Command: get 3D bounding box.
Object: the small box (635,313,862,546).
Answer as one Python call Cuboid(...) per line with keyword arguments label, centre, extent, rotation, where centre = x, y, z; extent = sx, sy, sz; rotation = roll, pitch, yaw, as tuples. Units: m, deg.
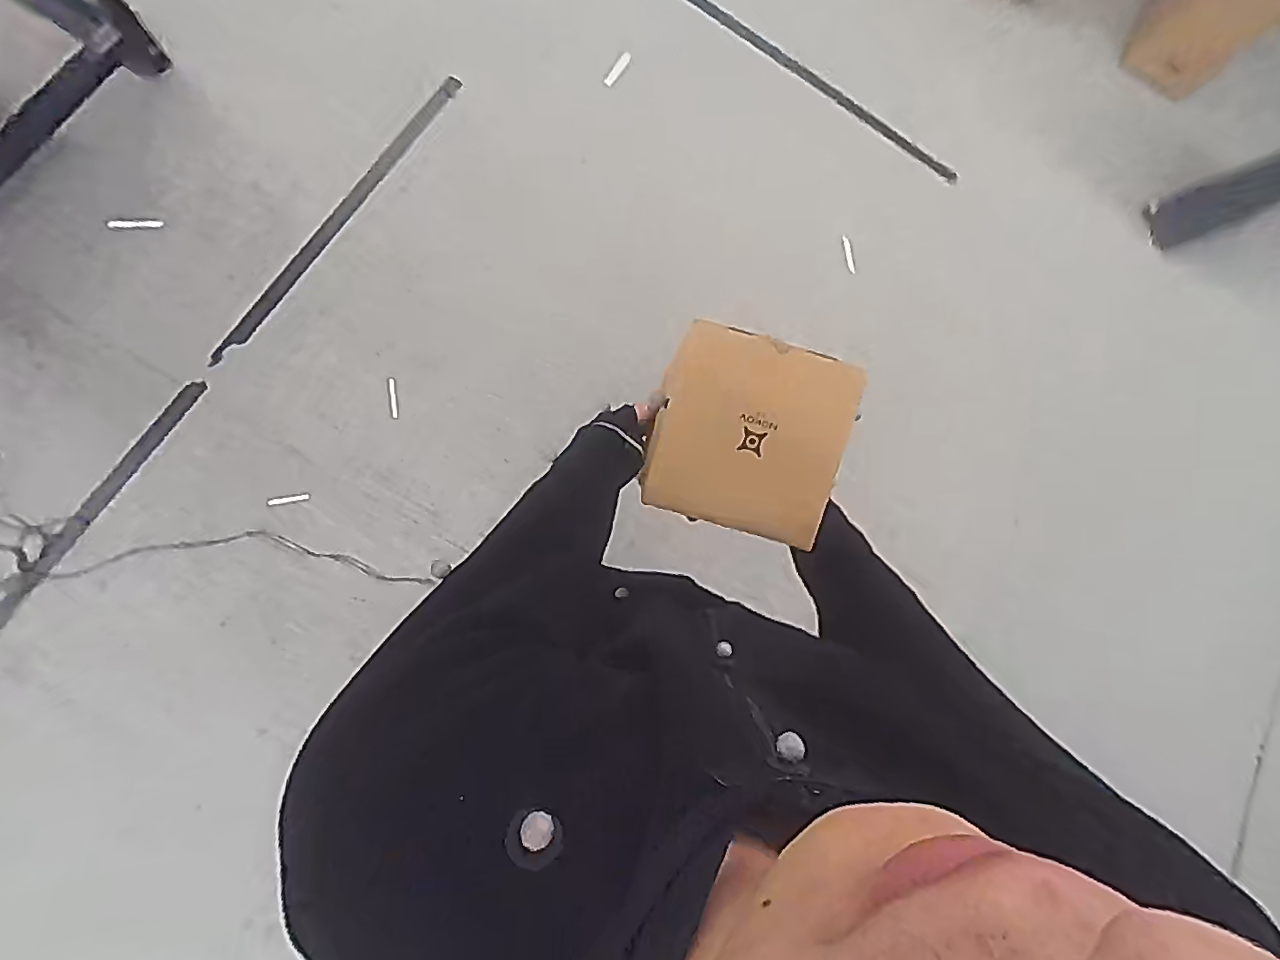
Cuboid(label="small box", centre=(0.098, -0.051, 0.564), extent=(0.168, 0.176, 0.179), rotation=(15, 95, -1))
